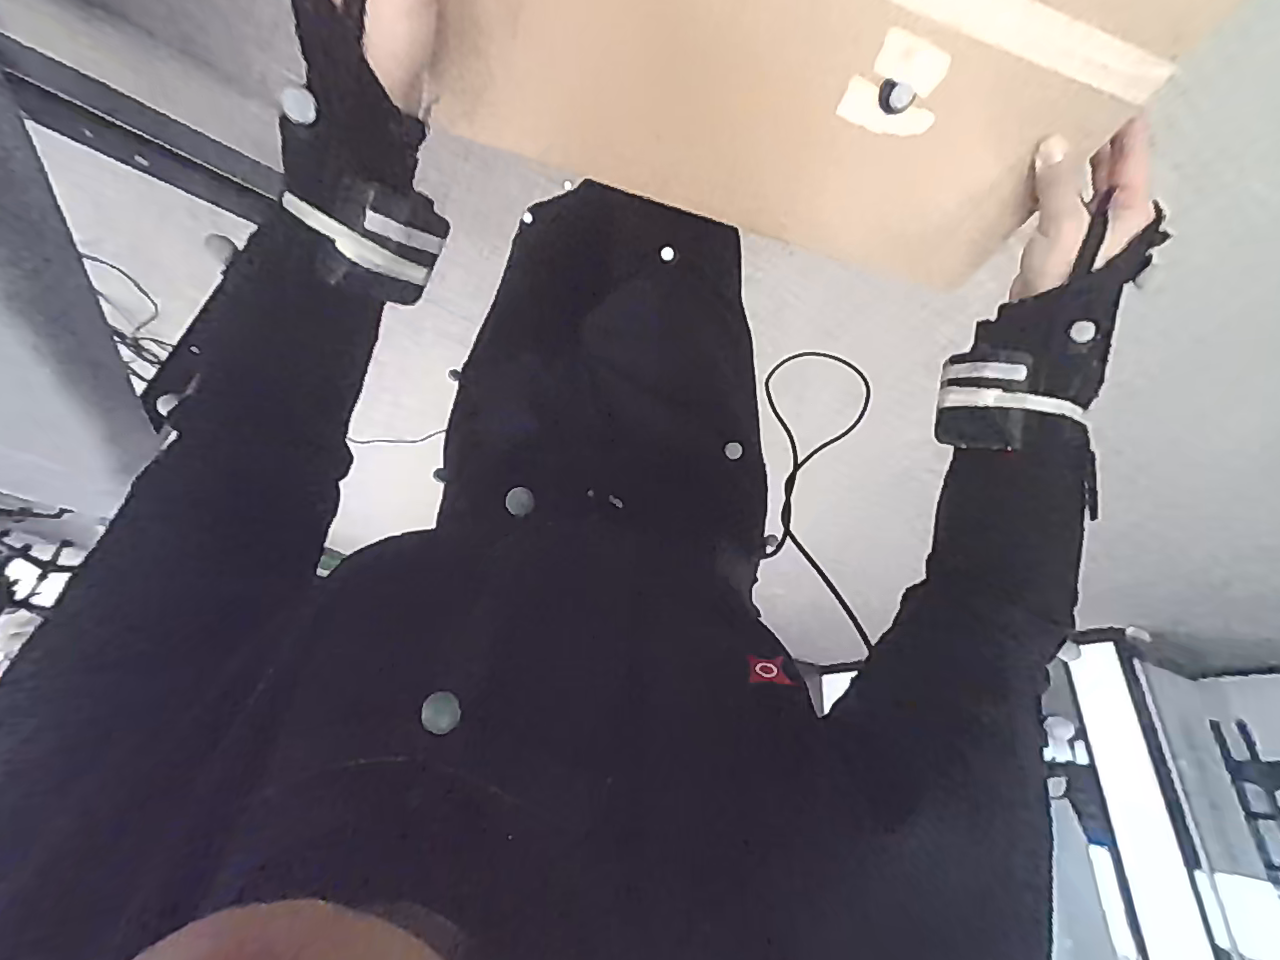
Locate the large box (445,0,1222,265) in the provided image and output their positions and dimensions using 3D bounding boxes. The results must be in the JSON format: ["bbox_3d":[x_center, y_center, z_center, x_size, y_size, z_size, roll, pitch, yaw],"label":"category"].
[{"bbox_3d":[0.111,-0.403,0.339,0.408,0.320,0.320,11,149,-11],"label":"large box"}]
